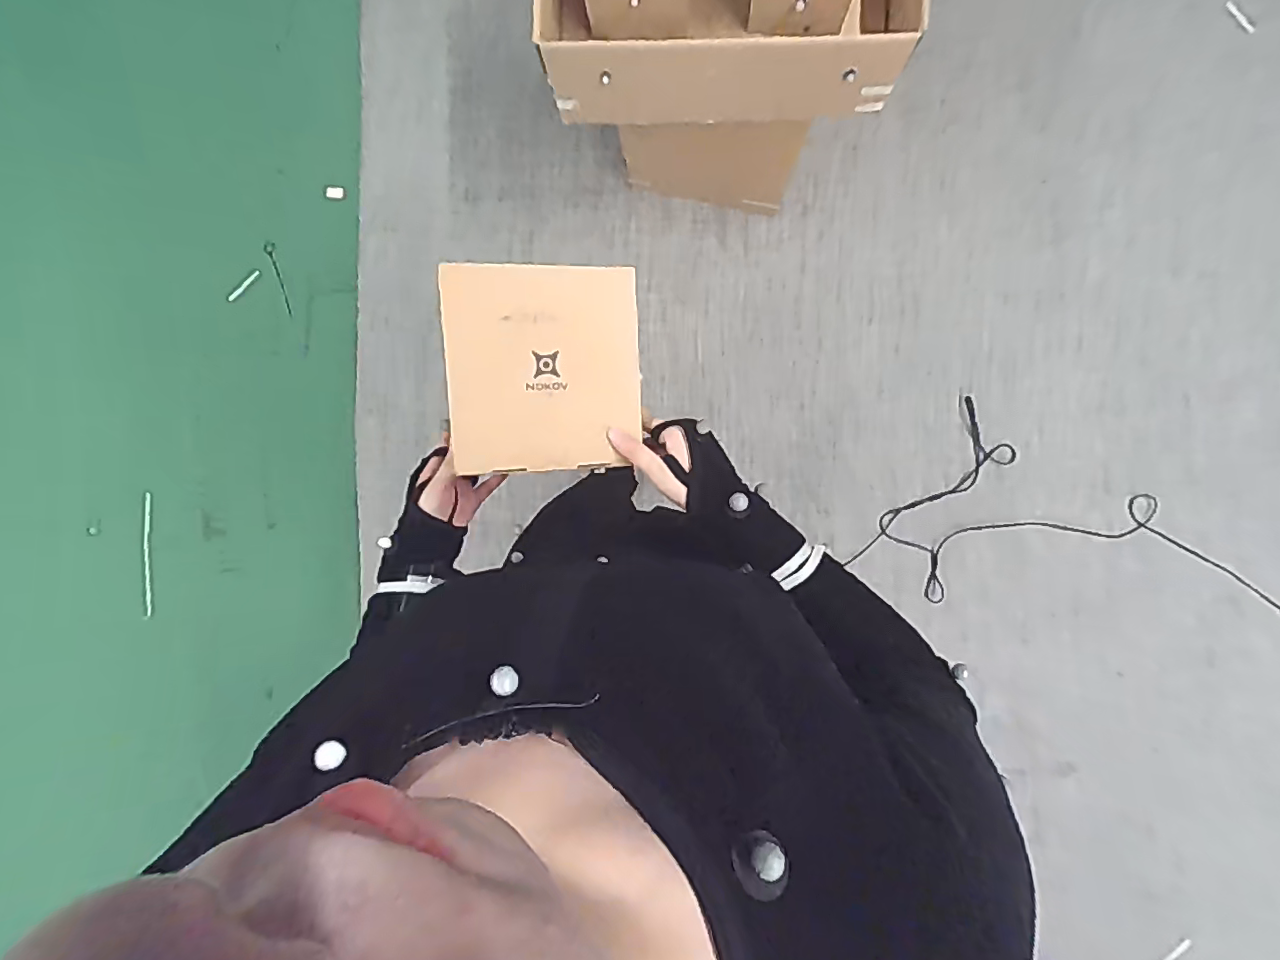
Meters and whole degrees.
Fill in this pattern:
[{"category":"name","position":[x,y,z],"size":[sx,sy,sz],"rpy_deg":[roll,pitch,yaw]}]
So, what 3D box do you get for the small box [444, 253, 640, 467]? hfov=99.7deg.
[{"category":"small box","position":[-0.098,-0.109,0.542],"size":[0.168,0.176,0.179],"rpy_deg":[-3,96,-14]}]
